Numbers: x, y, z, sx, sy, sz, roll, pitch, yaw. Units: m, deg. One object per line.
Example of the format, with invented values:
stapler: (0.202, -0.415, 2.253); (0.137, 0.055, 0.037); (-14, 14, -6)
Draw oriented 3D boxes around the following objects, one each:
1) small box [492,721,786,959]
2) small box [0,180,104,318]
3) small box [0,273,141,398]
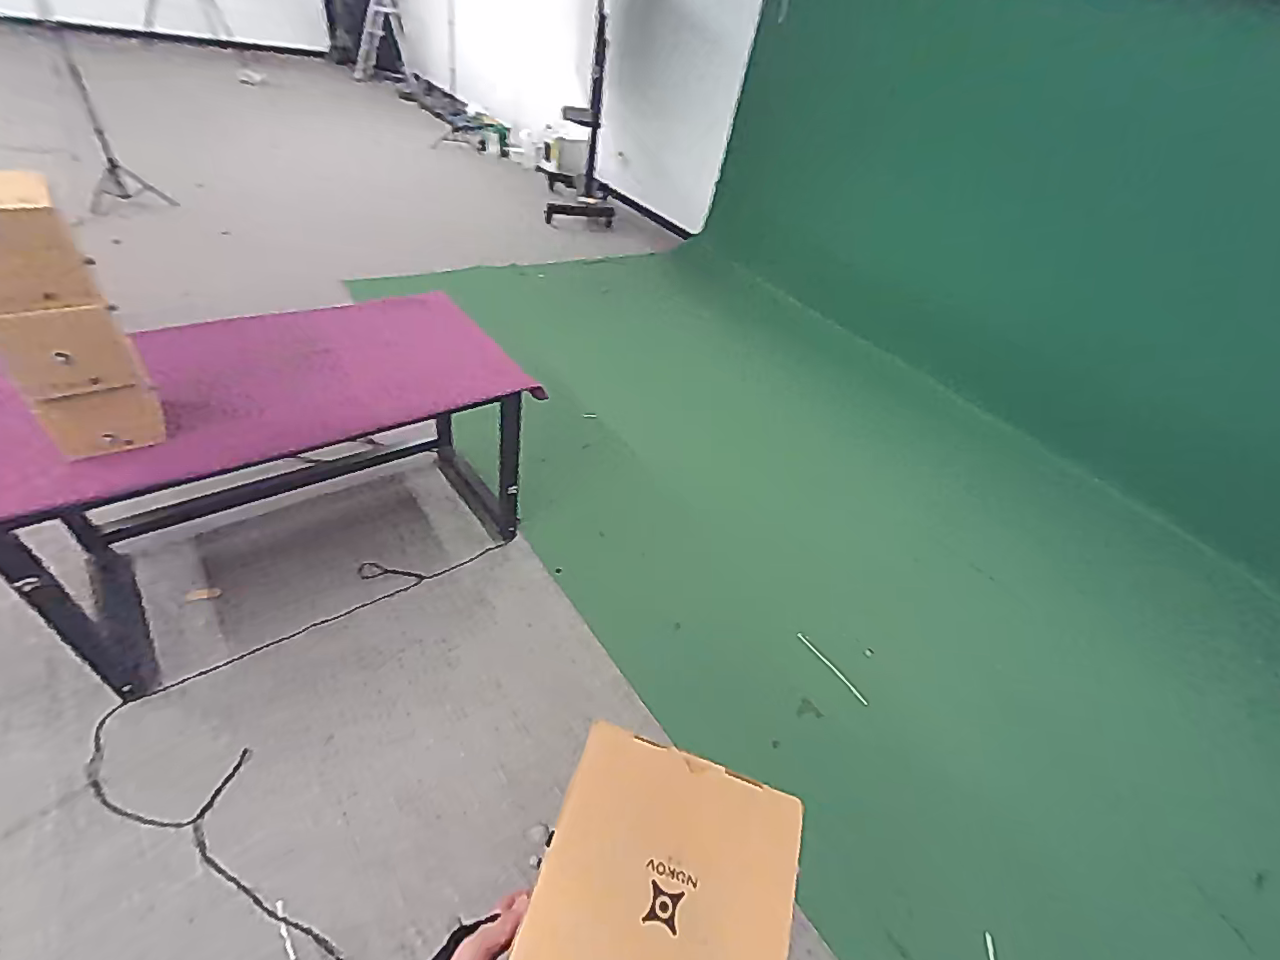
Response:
small box: (-0.005, 0.323, 0.413); (0.168, 0.176, 0.179); (19, 49, 5)
small box: (-1.066, -0.395, 0.921); (0.168, 0.176, 0.179); (-23, 54, -35)
small box: (-1.092, -0.271, 1.026); (0.168, 0.176, 0.179); (-22, 53, -35)
